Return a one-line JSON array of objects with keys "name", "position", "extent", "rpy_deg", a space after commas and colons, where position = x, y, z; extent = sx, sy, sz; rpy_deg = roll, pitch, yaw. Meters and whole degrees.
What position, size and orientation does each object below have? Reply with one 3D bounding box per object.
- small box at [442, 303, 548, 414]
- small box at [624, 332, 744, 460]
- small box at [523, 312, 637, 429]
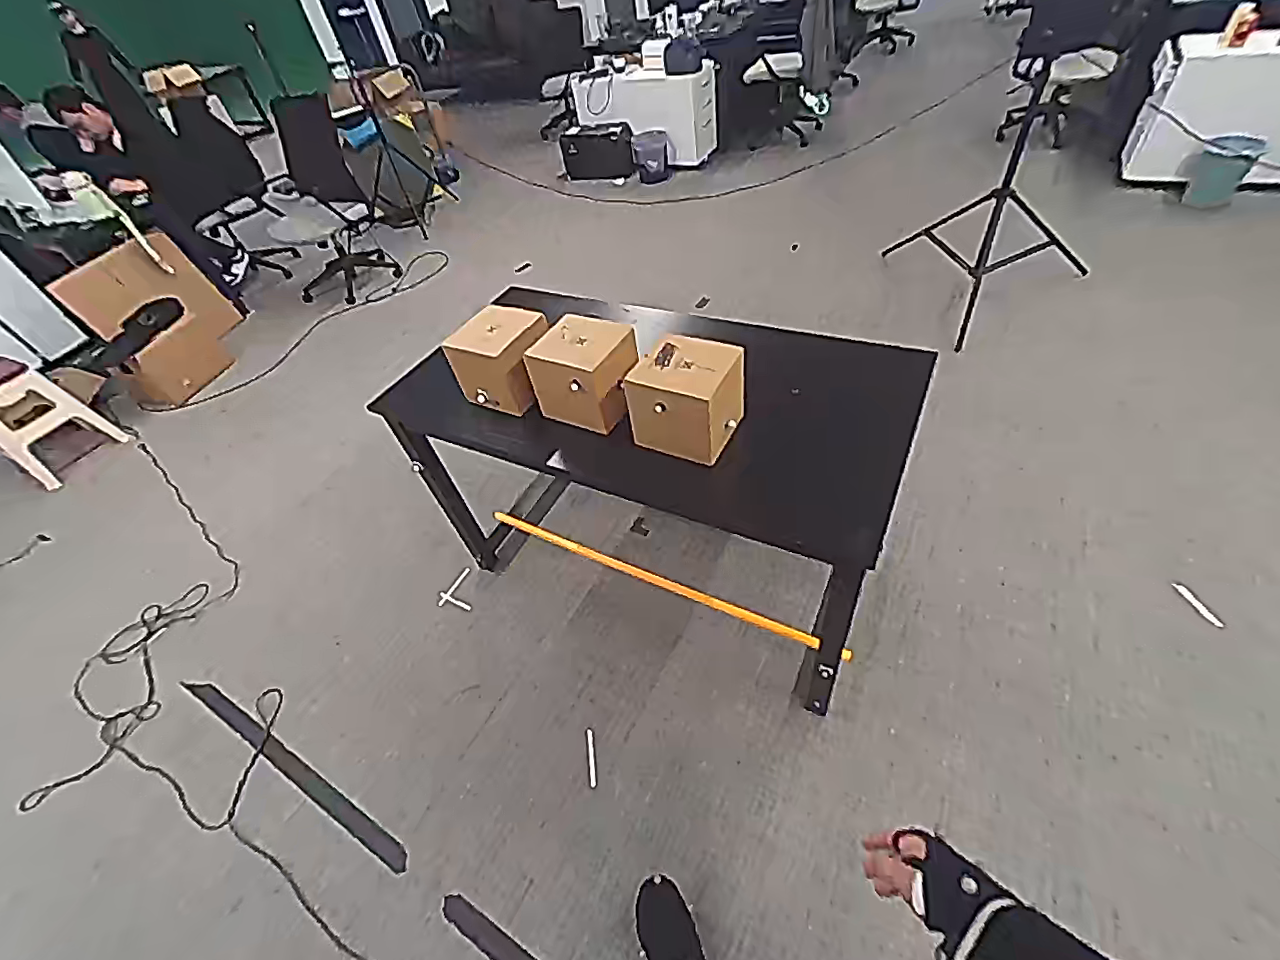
[{"name": "small box", "position": [-0.312, -0.280, 1.246], "extent": [0.168, 0.176, 0.179], "rpy_deg": [16, 53, 25]}, {"name": "small box", "position": [0.092, -0.162, 1.059], "extent": [0.179, 0.176, 0.168], "rpy_deg": [18, 53, 24]}, {"name": "small box", "position": [-0.115, -0.232, 1.162], "extent": [0.179, 0.176, 0.168], "rpy_deg": [18, 53, 25]}]
